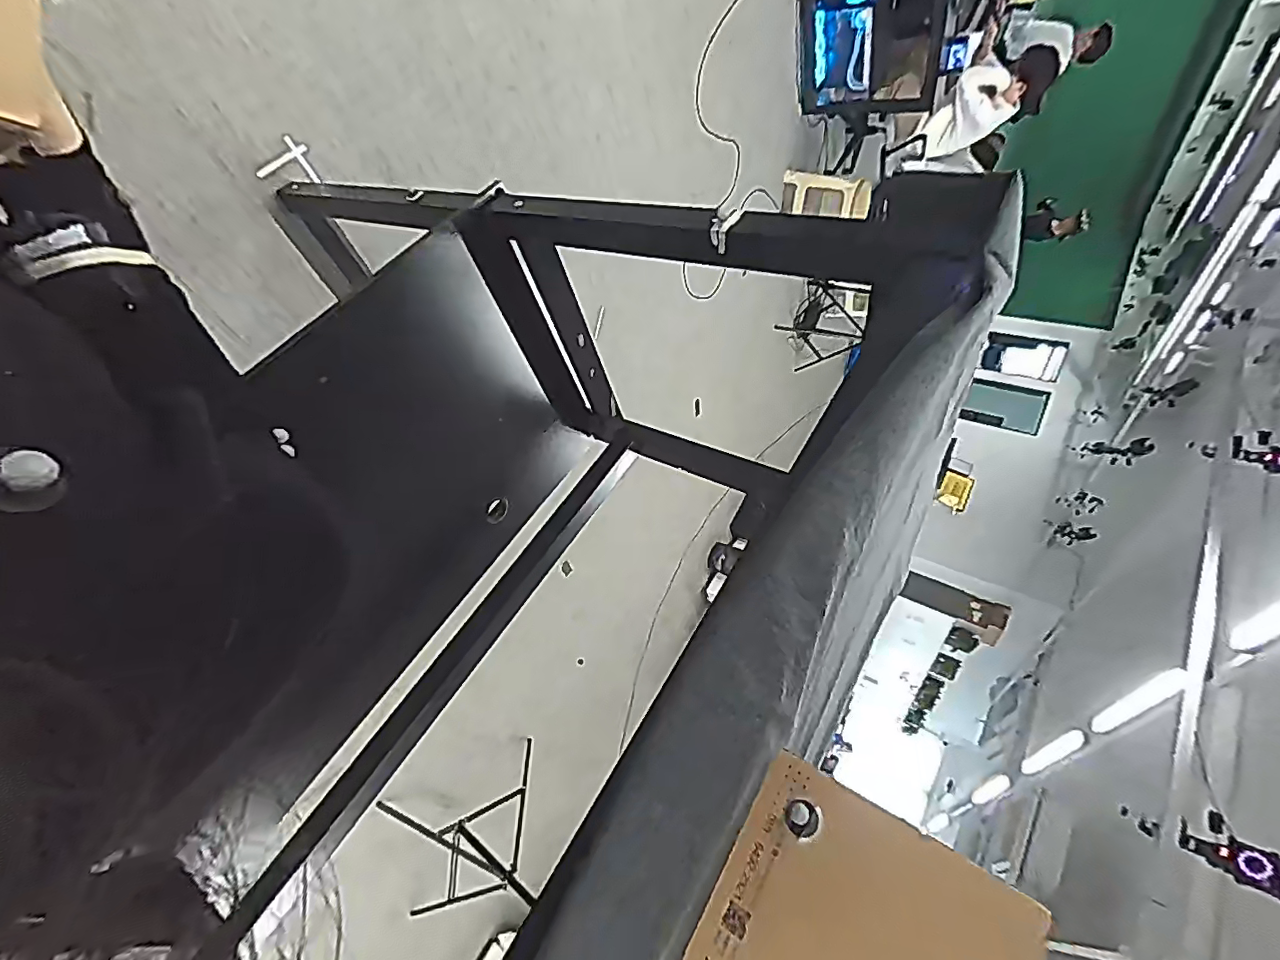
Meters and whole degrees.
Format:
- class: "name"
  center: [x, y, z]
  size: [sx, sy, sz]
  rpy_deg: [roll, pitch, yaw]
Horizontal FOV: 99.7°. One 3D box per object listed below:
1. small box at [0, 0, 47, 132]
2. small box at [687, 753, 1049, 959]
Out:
- class: "small box"
  center: [-0.379, -0.257, 0.214]
  size: [0.168, 0.176, 0.179]
  rpy_deg: [-9, 108, -59]
- class: "small box"
  center: [0.145, 0.324, 0.382]
  size: [0.168, 0.176, 0.179]
  rpy_deg: [-54, 149, -23]
